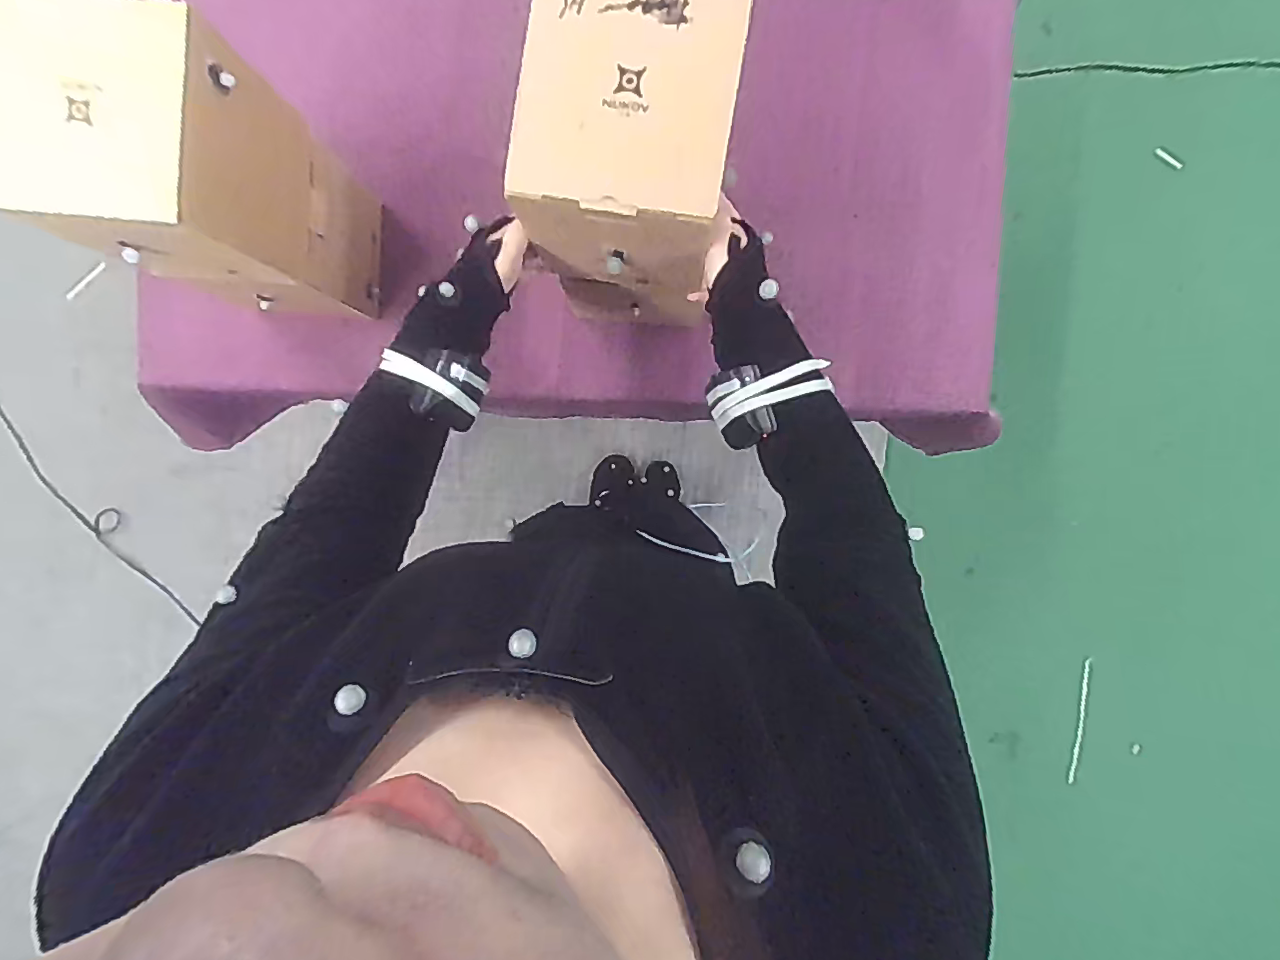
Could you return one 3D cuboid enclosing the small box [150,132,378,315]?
[{"bbox_3d":[-0.448,-0.310,0.671,0.179,0.176,0.168,4,93,-1],"label":"small box"}]

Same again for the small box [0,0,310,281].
[{"bbox_3d":[-0.442,-0.303,0.509,0.168,0.176,0.179,5,92,-1],"label":"small box"}]

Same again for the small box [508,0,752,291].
[{"bbox_3d":[-0.005,-0.290,0.493,0.168,0.176,0.179,10,92,2],"label":"small box"}]
